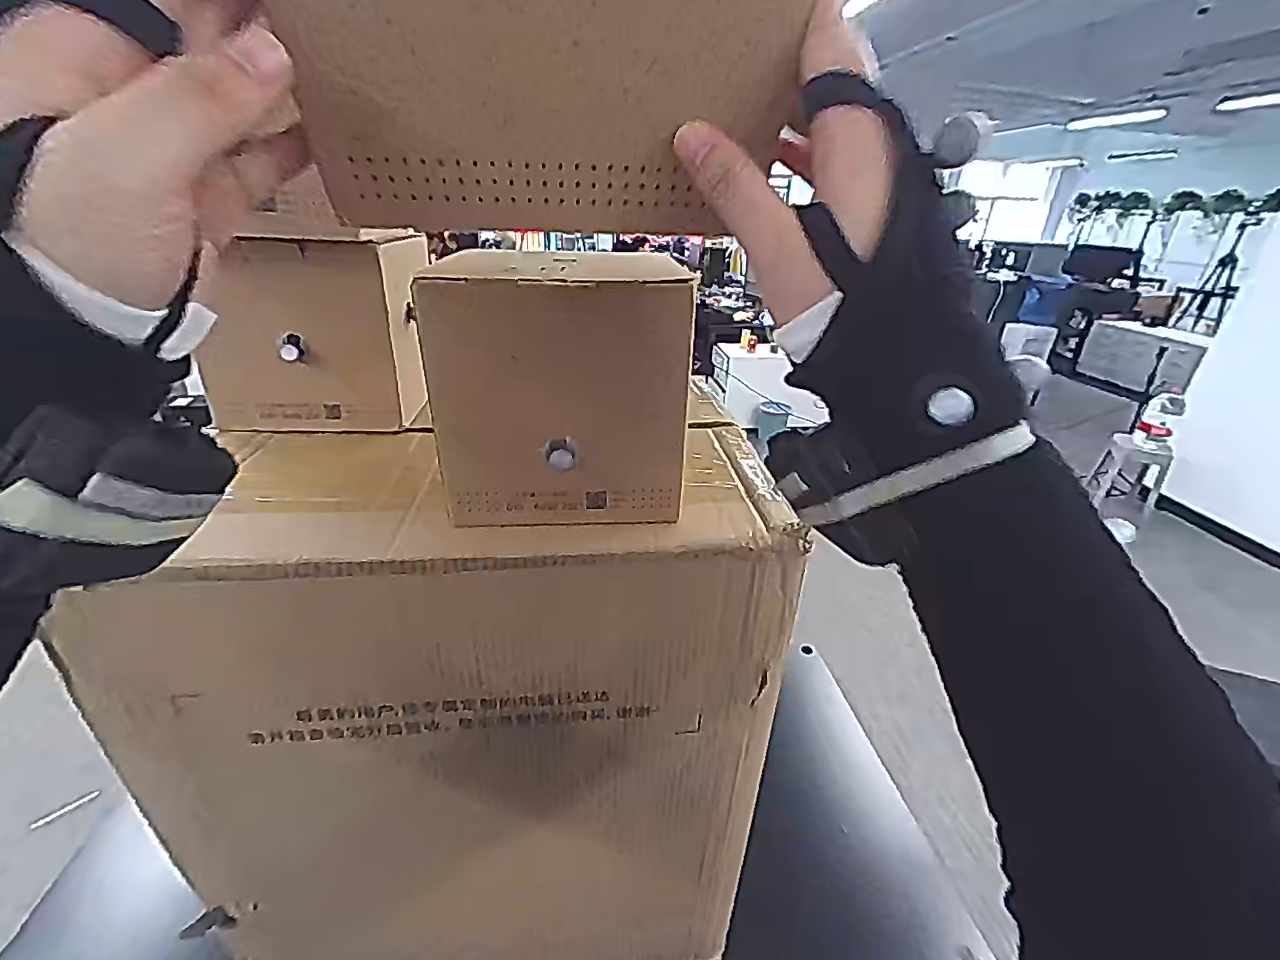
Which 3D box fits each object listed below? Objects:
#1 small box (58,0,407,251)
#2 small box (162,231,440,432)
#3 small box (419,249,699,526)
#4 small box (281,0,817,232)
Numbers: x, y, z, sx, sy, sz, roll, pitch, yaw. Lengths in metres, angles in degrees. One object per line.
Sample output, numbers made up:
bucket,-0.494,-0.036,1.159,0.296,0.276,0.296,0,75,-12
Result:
small box,-0.296,-0.284,0.434,0.168,0.176,0.179,-3,27,-10
small box,-0.304,-0.153,0.537,0.168,0.176,0.179,0,27,-8
small box,-0.054,-0.080,0.422,0.168,0.176,0.179,-1,28,-4
small box,-0.031,-0.213,0.206,0.179,0.176,0.168,-1,51,-7
